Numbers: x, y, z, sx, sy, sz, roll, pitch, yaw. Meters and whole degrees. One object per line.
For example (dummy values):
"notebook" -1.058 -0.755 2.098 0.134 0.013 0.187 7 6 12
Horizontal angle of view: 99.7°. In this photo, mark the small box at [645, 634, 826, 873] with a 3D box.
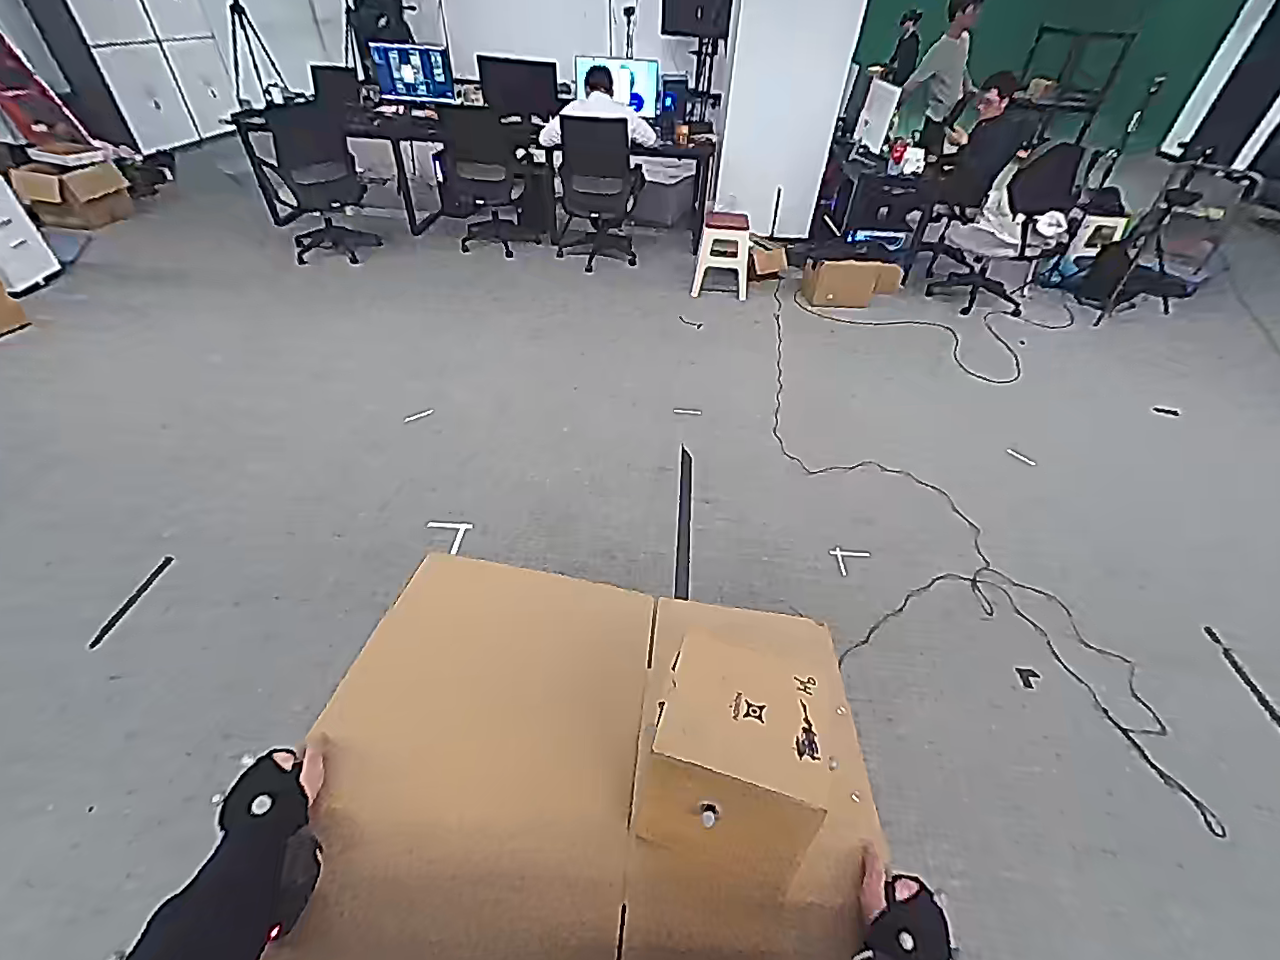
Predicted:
"small box" 0.110 0.316 0.633 0.179 0.176 0.168 12 33 11
